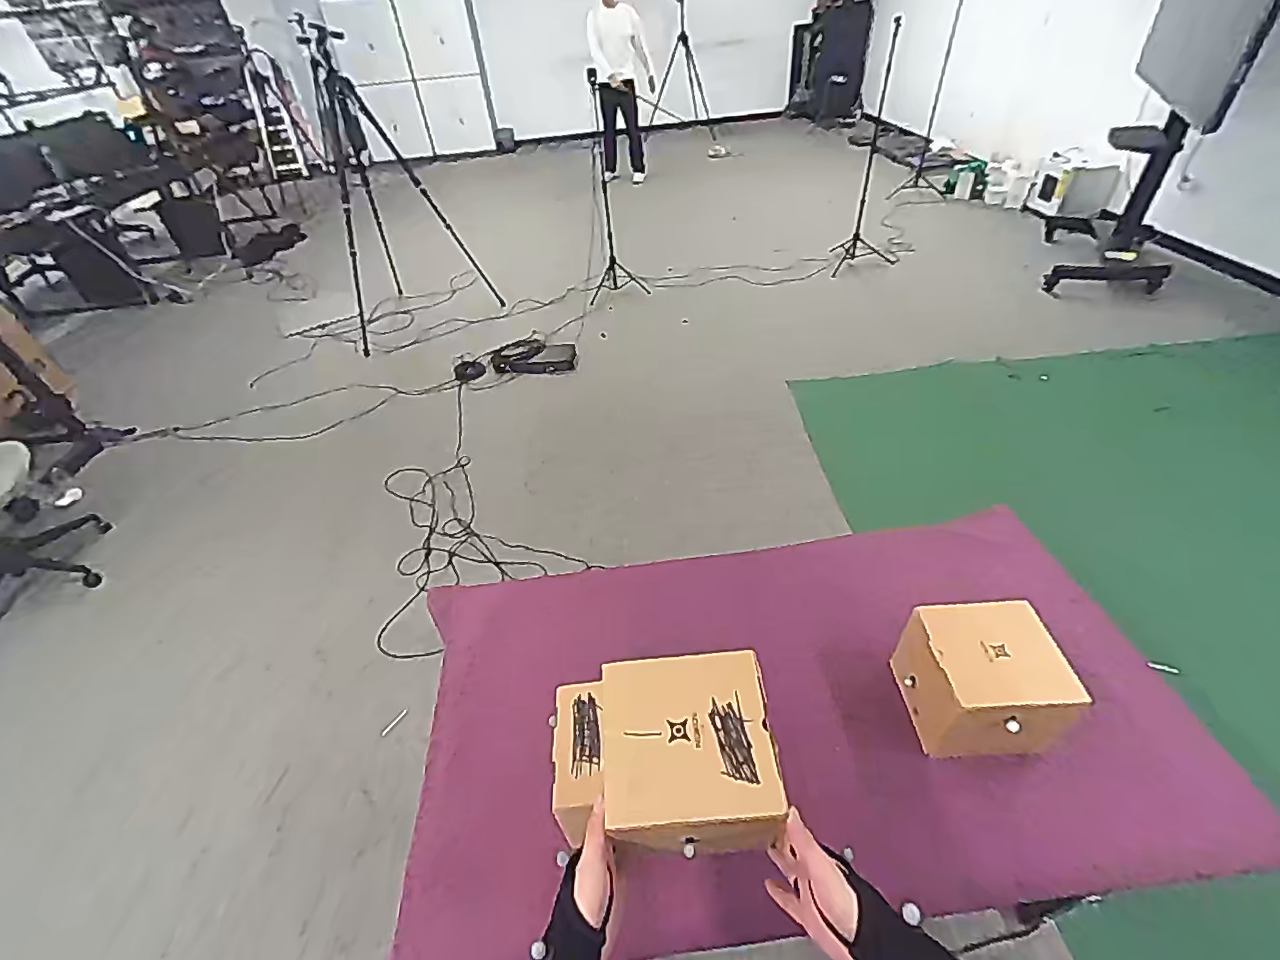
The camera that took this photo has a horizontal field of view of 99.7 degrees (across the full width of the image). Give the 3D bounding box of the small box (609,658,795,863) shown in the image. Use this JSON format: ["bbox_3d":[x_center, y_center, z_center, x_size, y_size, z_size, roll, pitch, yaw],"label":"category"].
[{"bbox_3d":[0.059,0.320,0.613,0.179,0.176,0.168,-4,46,1],"label":"small box"}]

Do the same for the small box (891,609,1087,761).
[{"bbox_3d":[0.523,0.320,0.843,0.179,0.176,0.168,-4,42,2],"label":"small box"}]
